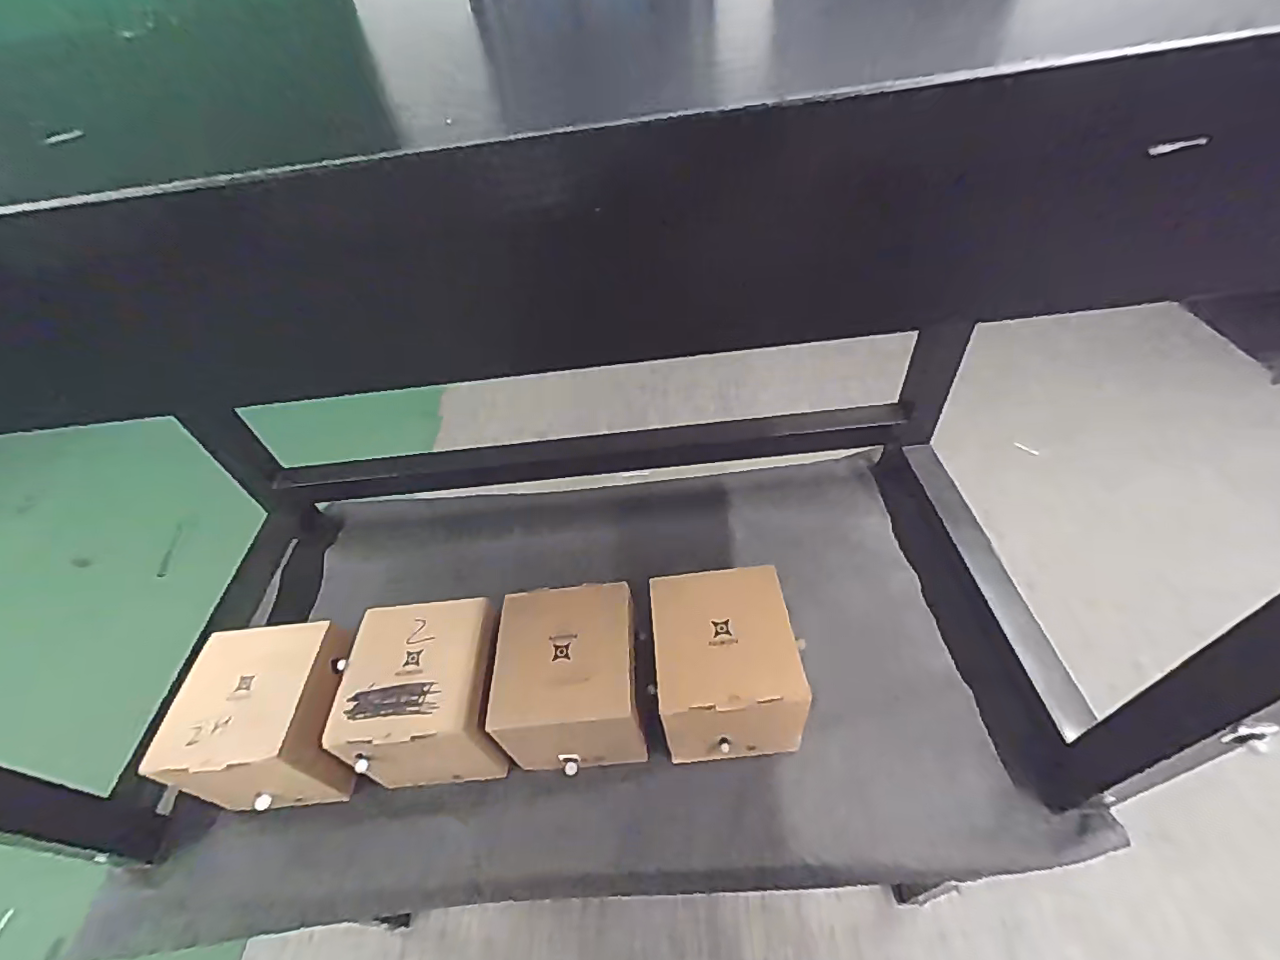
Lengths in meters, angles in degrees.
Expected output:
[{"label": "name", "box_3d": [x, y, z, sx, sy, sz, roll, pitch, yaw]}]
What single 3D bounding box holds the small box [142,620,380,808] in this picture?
[{"label": "small box", "box_3d": [-0.473, 0.309, 0.715, 0.168, 0.176, 0.179, -6, 46, 2]}]
